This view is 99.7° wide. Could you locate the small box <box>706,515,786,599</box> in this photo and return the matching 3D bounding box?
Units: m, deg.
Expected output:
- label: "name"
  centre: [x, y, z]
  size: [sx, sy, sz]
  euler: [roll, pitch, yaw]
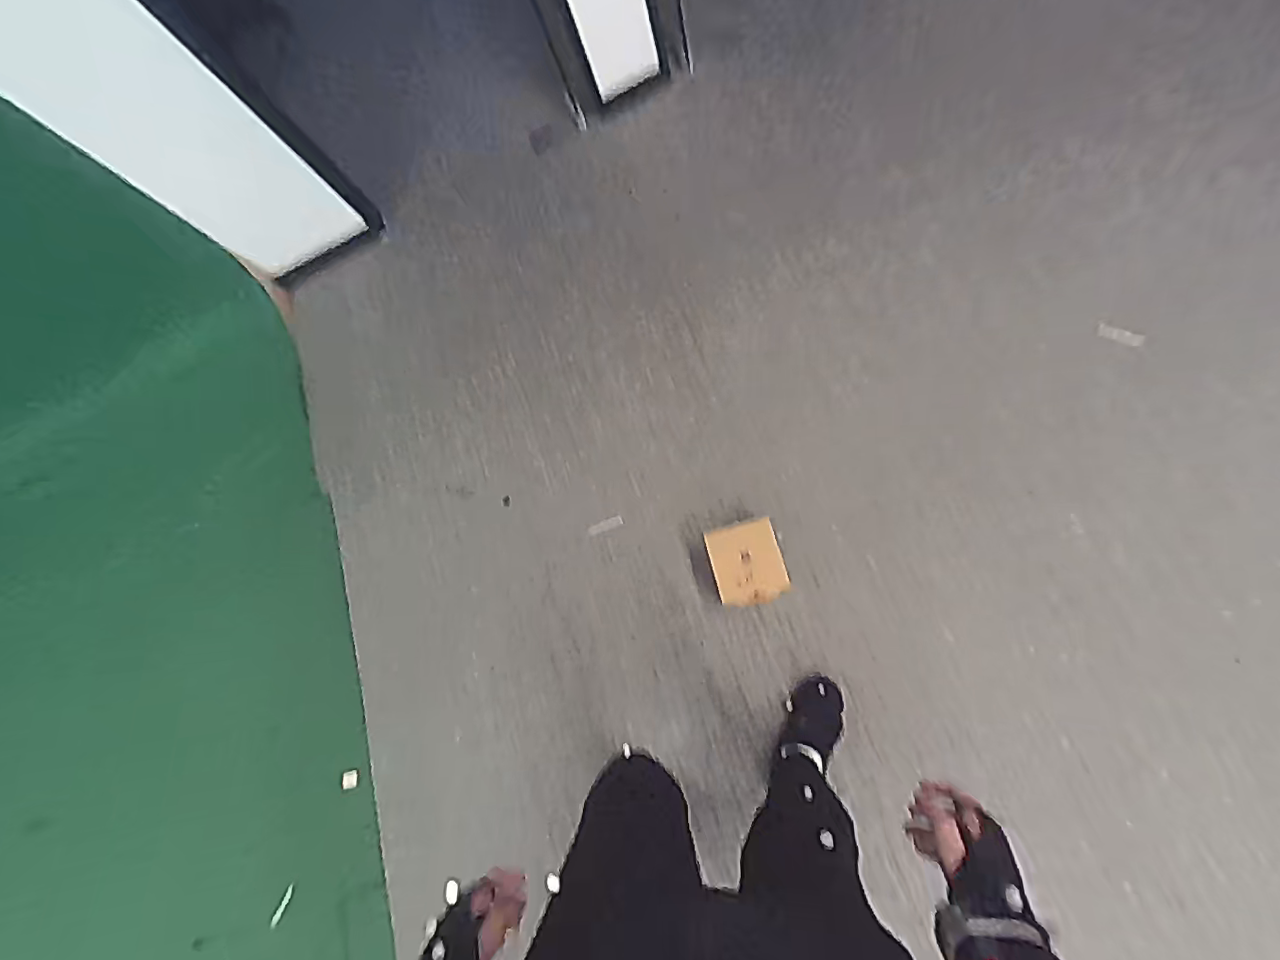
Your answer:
- label: "small box"
  centre: [0.267, 0.199, 1.351]
  size: [0.168, 0.176, 0.179]
  euler: [-12, 74, 14]
